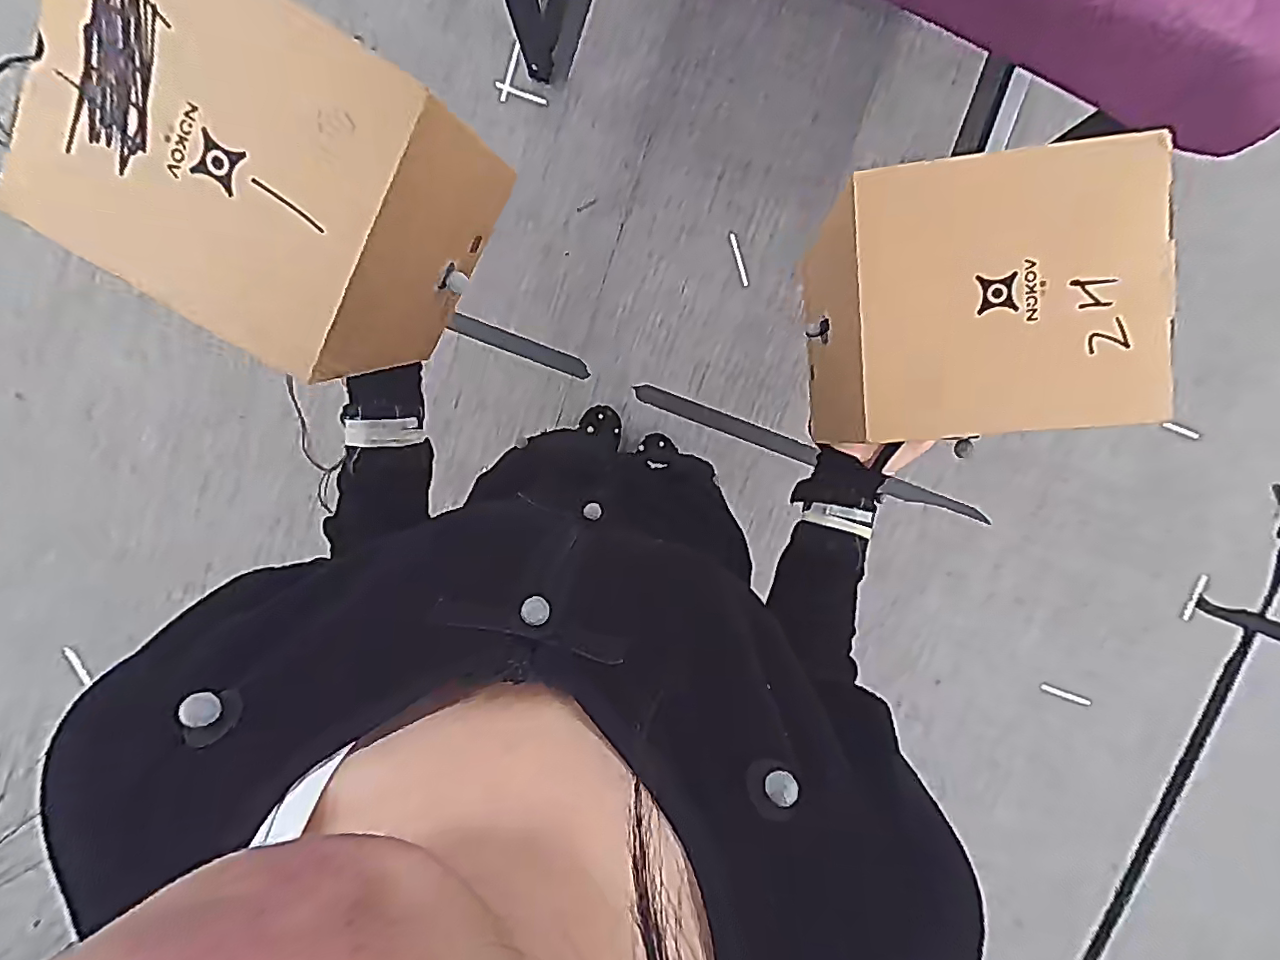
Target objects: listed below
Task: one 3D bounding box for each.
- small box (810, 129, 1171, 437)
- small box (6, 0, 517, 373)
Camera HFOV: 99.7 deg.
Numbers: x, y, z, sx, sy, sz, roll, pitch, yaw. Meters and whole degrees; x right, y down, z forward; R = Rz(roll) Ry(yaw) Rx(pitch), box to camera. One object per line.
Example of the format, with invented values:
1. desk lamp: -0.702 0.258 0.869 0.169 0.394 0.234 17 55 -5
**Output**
1. small box: 0.228 -0.119 0.400 0.179 0.176 0.168 -4 94 6
2. small box: -0.205 -0.188 0.343 0.179 0.176 0.168 31 106 -8
